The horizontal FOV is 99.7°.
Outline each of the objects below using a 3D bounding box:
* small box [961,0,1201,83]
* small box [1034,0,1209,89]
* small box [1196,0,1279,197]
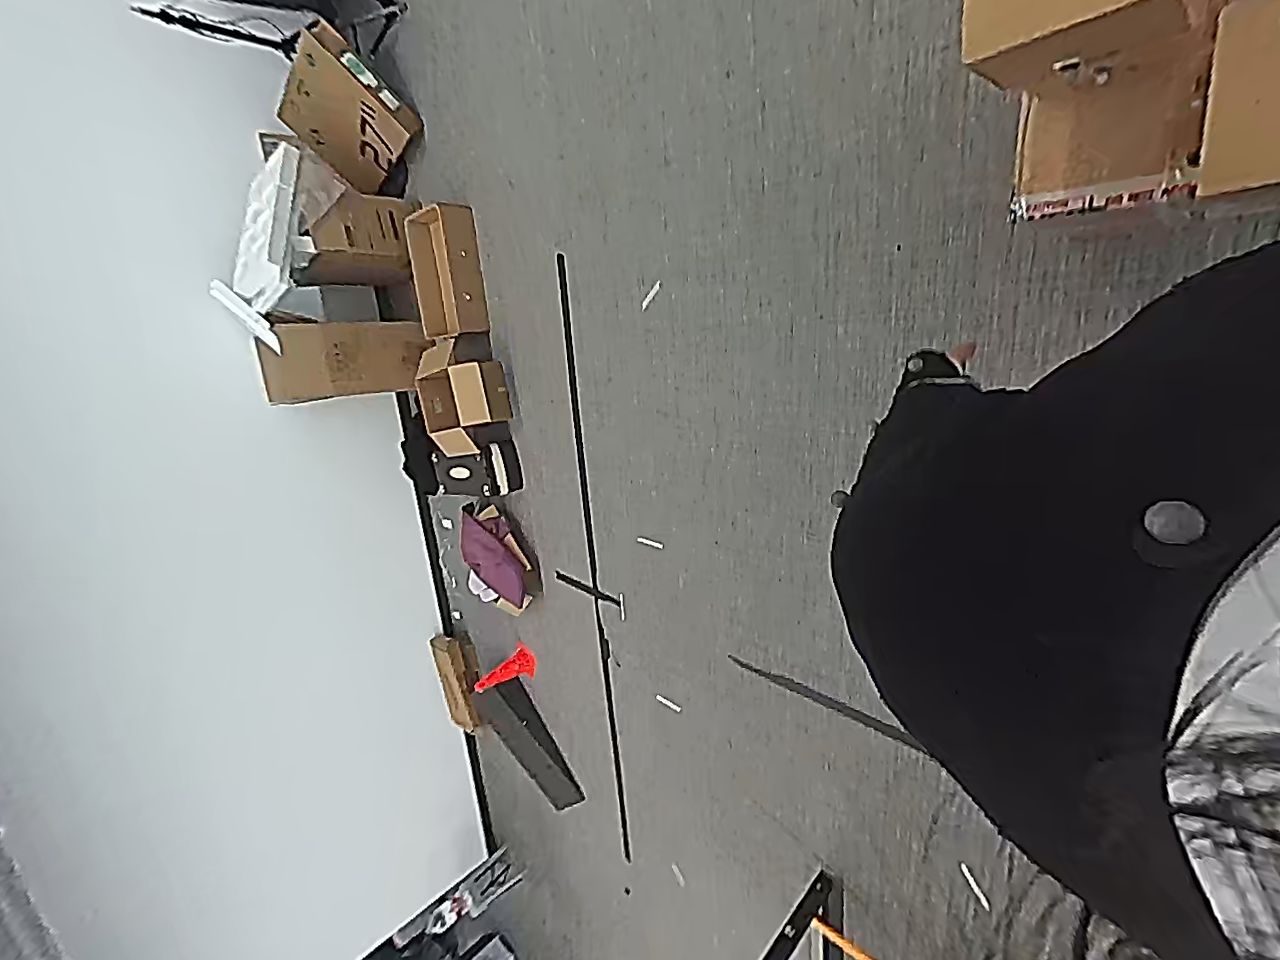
[{"bbox_3d":[0.434,-0.524,0.523,0.168,0.176,0.179,12,116,47],"label":"small box"},{"bbox_3d":[0.545,-0.591,0.624,0.168,0.176,0.179,12,116,46],"label":"small box"},{"bbox_3d":[0.691,-0.402,0.545,0.168,0.176,0.179,9,114,45],"label":"small box"}]
